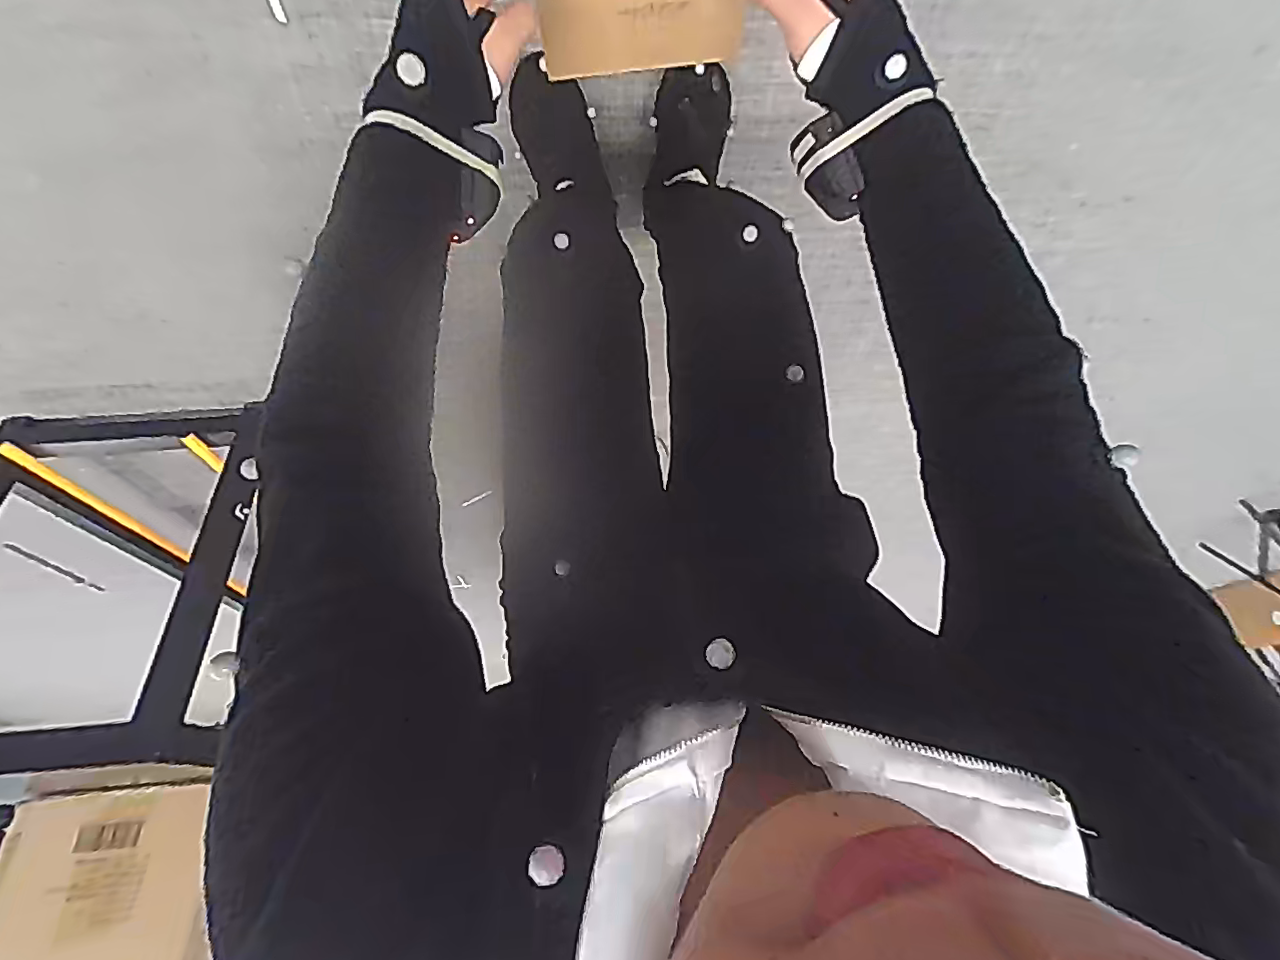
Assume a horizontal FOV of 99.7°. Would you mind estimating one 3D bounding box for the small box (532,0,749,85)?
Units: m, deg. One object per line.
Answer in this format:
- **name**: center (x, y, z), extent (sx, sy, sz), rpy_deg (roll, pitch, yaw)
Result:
- **small box**: center (-0.010, -0.444, 0.399), extent (0.168, 0.176, 0.179), rpy_deg (-7, 159, 0)
